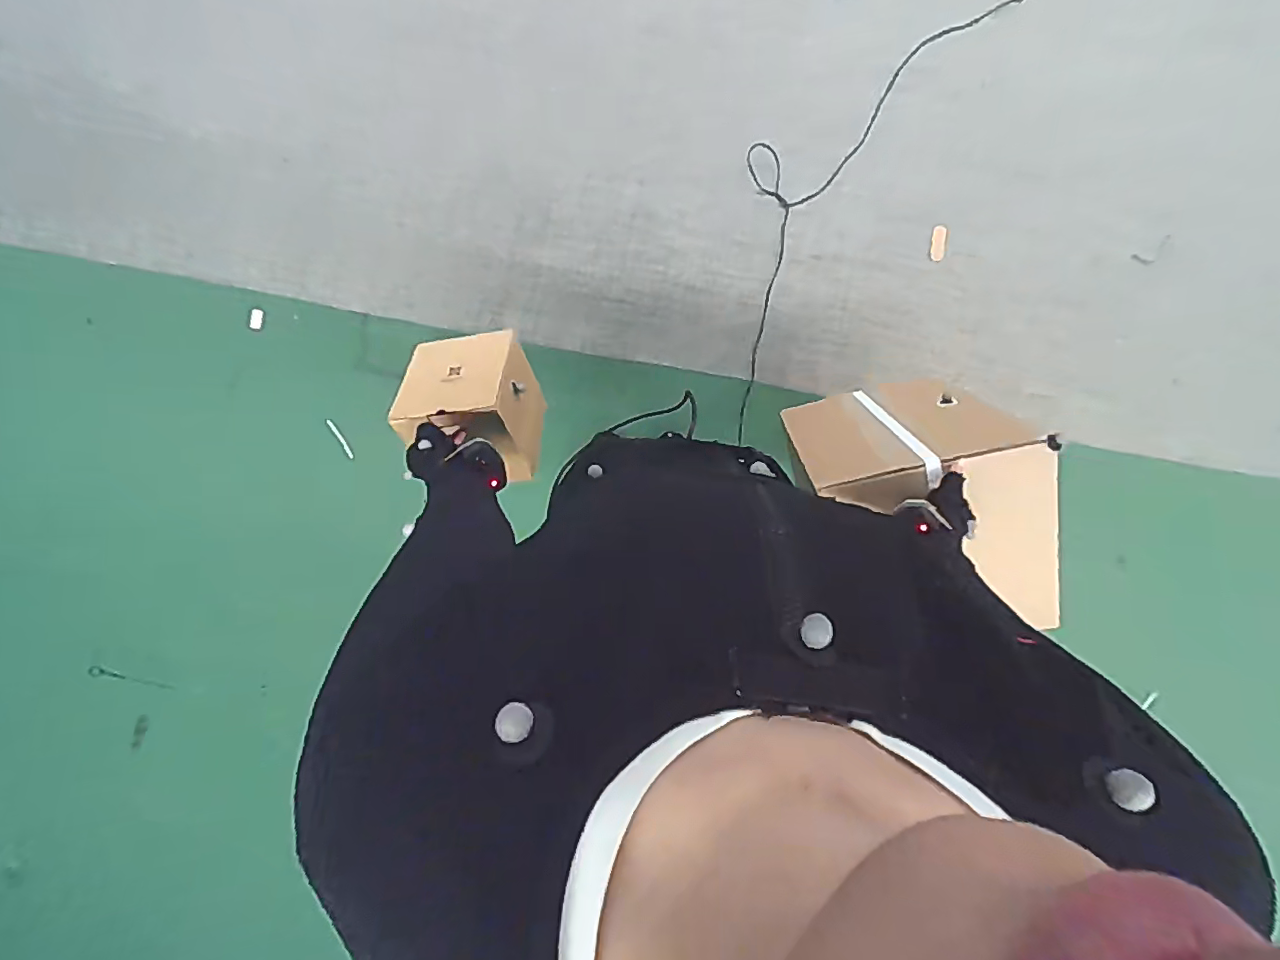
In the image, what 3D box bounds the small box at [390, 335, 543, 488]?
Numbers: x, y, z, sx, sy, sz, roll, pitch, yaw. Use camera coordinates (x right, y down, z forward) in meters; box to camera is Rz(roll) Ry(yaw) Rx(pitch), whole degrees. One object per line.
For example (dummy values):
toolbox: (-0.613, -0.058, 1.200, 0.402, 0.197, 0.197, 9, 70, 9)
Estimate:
small box: (-0.266, -0.109, 0.880, 0.168, 0.176, 0.179, -5, 51, 9)
